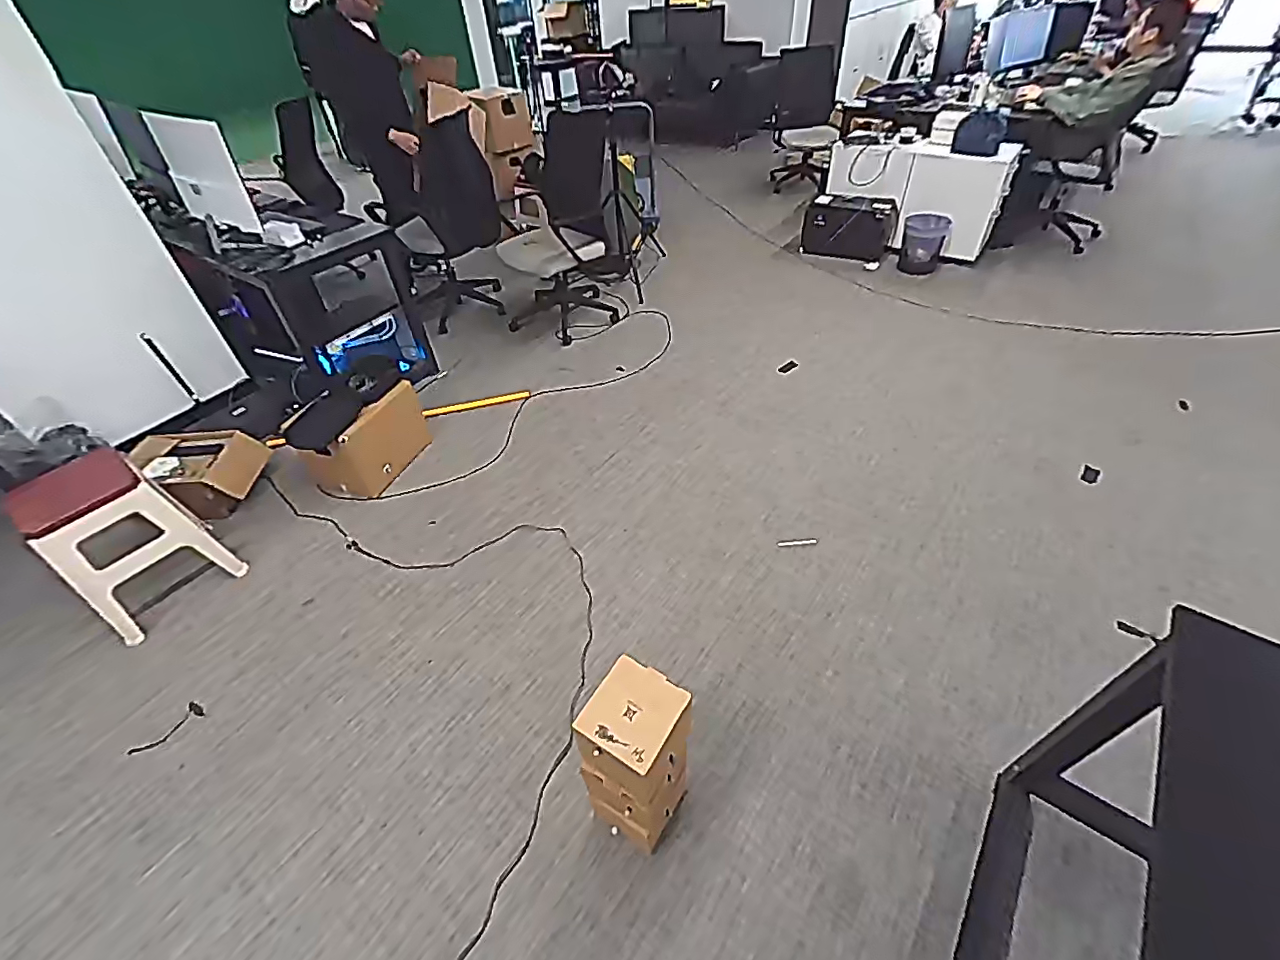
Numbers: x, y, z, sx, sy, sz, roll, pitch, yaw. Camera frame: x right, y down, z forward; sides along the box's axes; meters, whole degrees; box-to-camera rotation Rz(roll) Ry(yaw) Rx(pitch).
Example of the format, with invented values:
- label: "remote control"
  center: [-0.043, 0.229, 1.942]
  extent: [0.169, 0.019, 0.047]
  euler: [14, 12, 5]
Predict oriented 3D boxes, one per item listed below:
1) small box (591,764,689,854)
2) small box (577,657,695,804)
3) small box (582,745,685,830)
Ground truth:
- label: "small box"
  center: [0.003, 0.747, 1.294]
  extent: [0.168, 0.176, 0.179]
  euler: [22, 50, 26]
- label: "small box"
  center: [-0.005, 0.499, 1.081]
  extent: [0.168, 0.176, 0.179]
  euler: [22, 49, 25]
- label: "small box"
  center: [-0.004, 0.625, 1.187]
  extent: [0.168, 0.176, 0.179]
  euler: [20, 47, 23]
